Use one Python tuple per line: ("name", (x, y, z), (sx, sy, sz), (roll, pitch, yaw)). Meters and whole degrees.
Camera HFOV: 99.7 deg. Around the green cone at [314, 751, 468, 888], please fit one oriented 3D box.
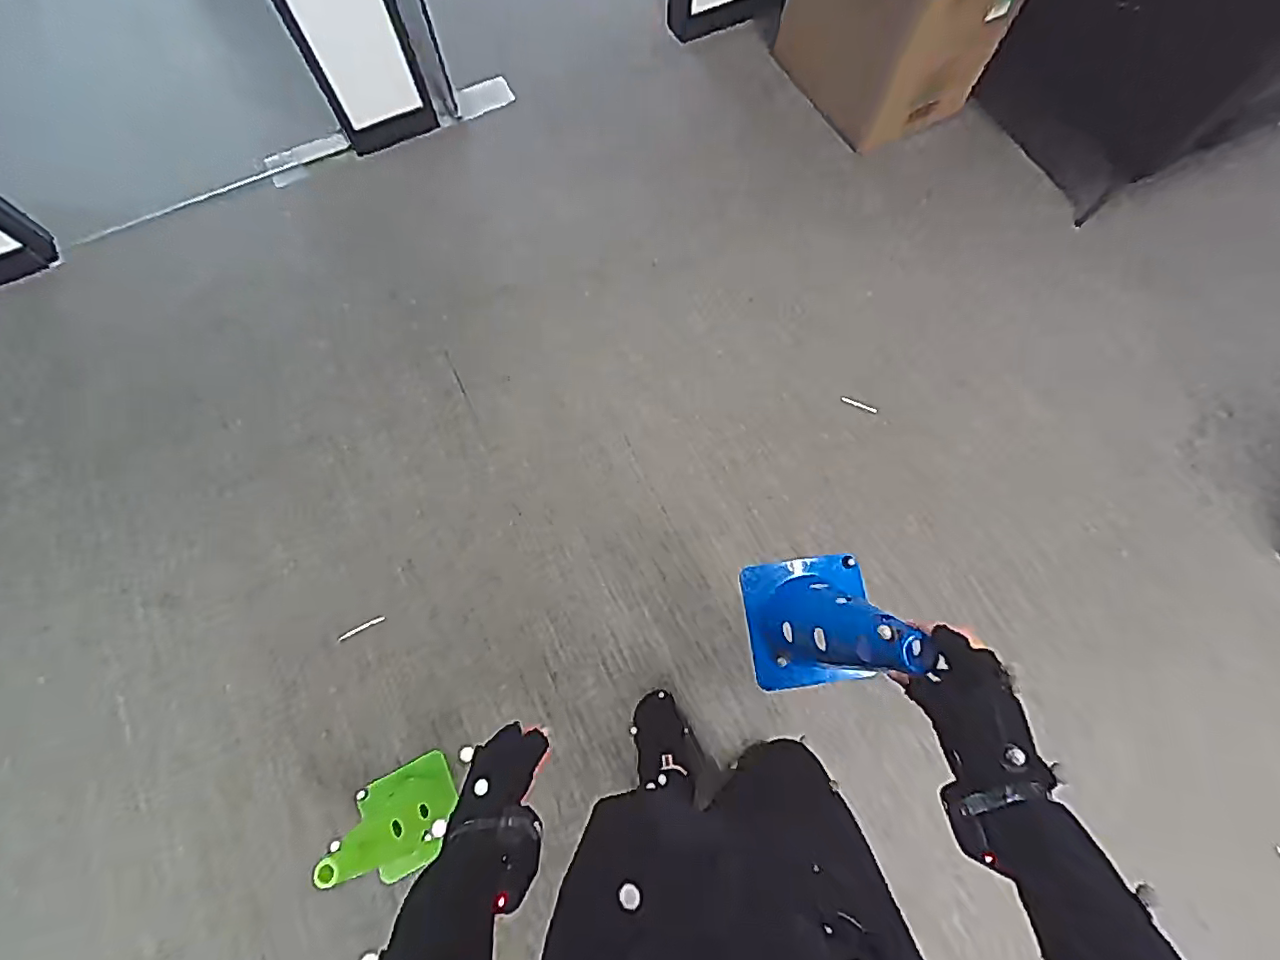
("green cone", (-0.493, 0.674, 1.007), (0.202, 0.368, 0.200), (-27, 74, -9))
